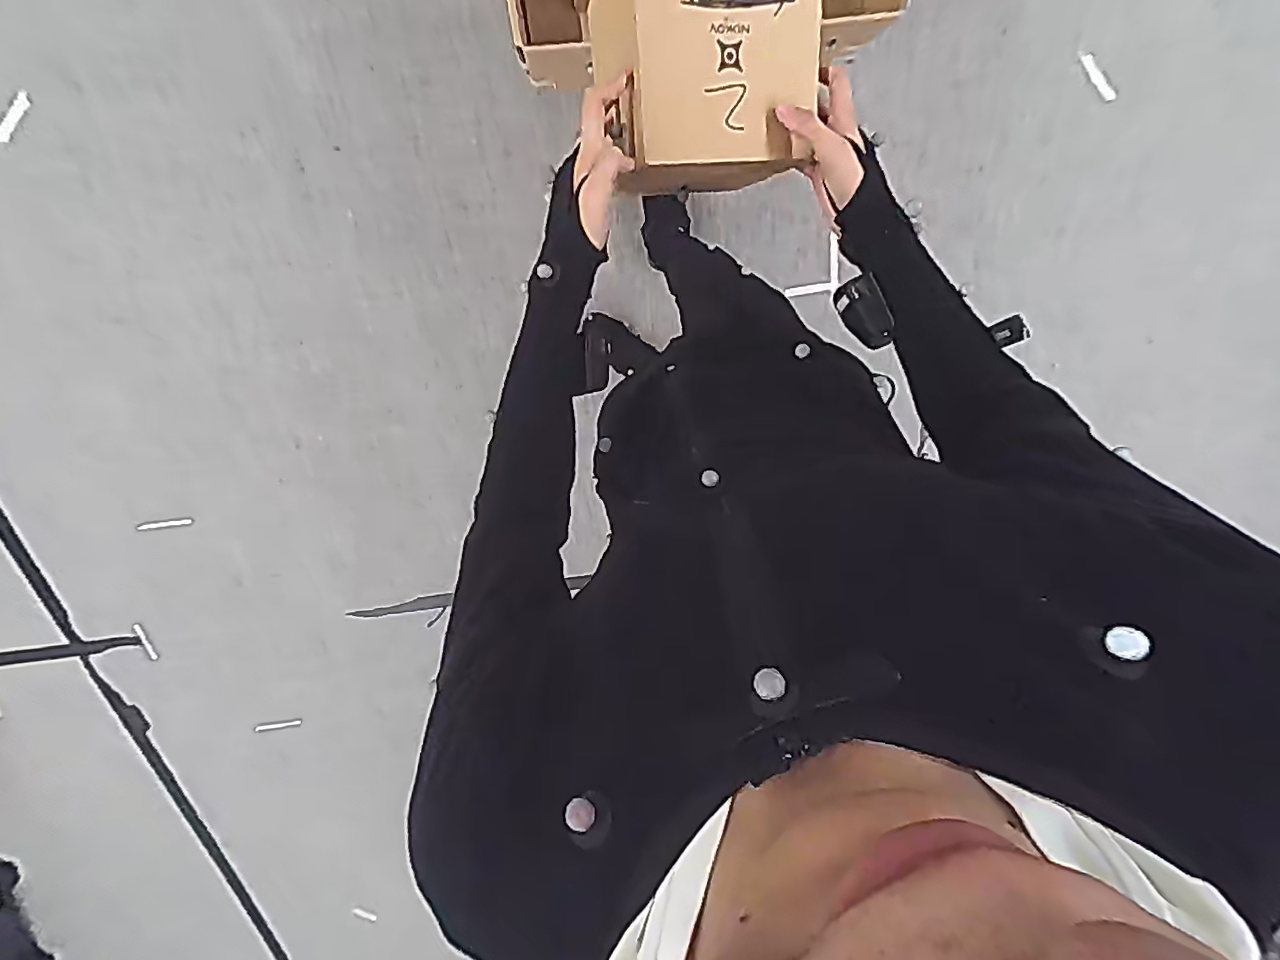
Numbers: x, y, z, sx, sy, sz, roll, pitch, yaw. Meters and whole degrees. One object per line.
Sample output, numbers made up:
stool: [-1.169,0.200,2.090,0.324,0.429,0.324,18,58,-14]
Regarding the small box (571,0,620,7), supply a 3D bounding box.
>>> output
small box: [-0.037,-0.852,0.805,0.179,0.176,0.168,-12,112,0]
